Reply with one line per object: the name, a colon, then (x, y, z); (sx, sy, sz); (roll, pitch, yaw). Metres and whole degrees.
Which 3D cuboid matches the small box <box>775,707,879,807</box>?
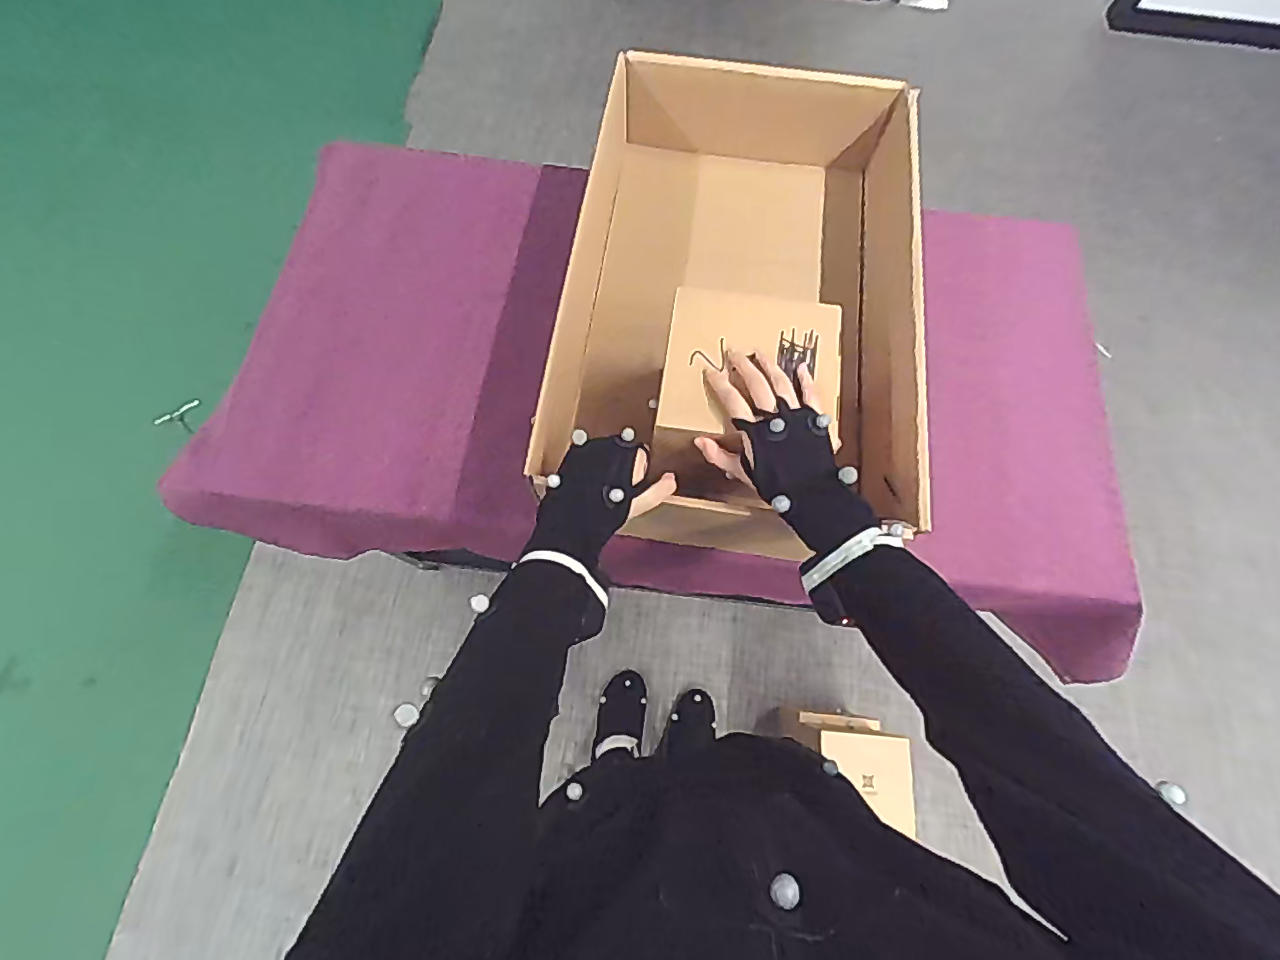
small box: (0.414, 0.610, 1.212); (0.179, 0.176, 0.168); (6, 71, 1)
